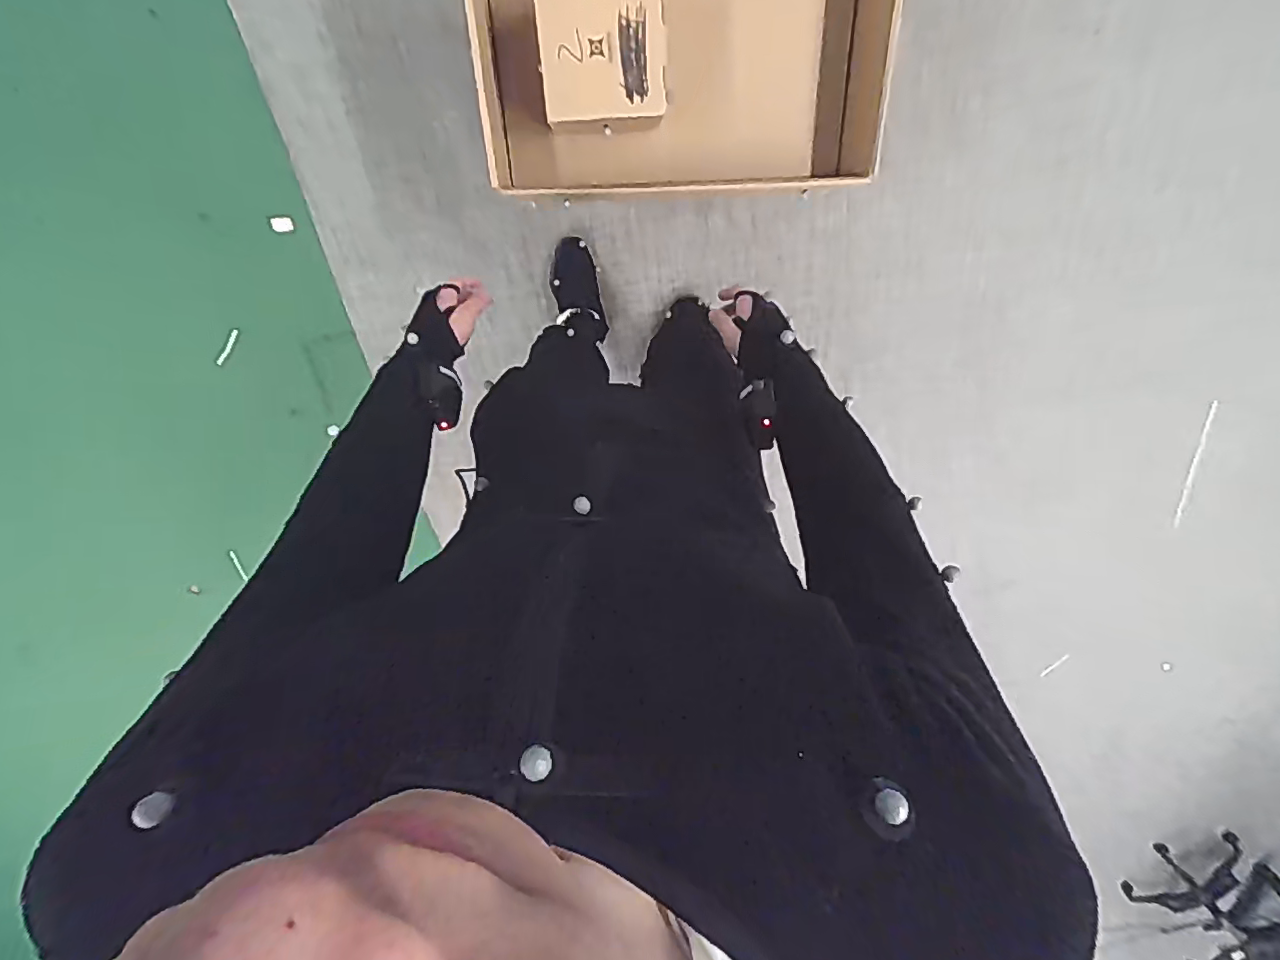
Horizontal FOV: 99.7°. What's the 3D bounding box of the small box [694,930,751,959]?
[{"bbox_3d":[0.261,1.502,1.632,0.168,0.176,0.179,-11,119,2],"label":"small box"}]
